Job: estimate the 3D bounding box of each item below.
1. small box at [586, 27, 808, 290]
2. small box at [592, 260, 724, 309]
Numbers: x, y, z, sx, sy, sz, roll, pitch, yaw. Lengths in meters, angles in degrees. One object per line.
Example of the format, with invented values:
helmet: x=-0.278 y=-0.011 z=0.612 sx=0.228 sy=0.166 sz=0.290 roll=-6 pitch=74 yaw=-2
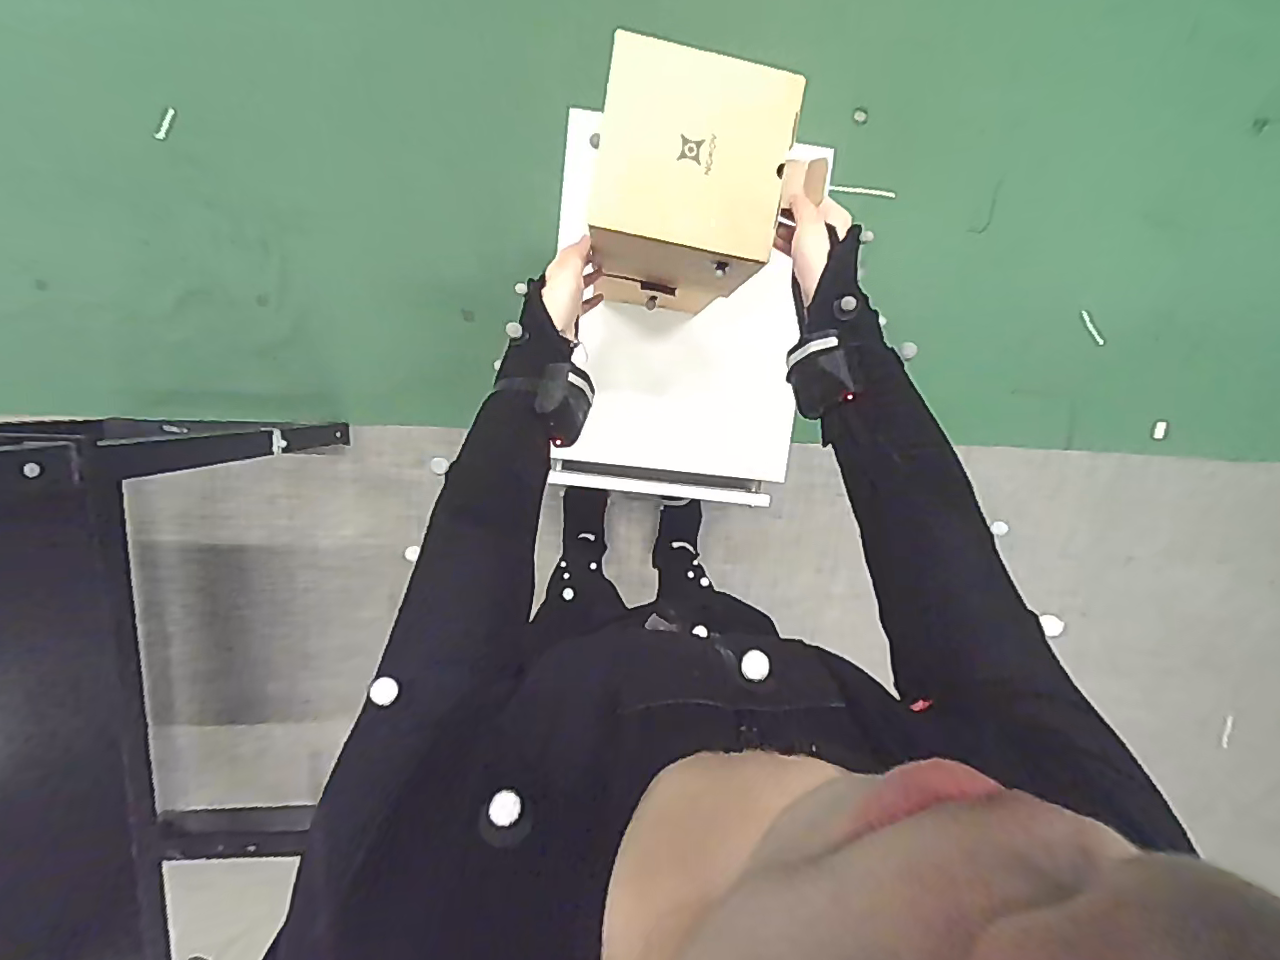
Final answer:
small box: x=0.044 y=-0.305 z=0.555 sx=0.179 sy=0.176 sz=0.168 roll=8 pitch=98 yaw=-6
small box: x=0.029 y=-0.333 z=0.715 sx=0.168 sy=0.176 sz=0.179 roll=6 pitch=99 yaw=-6
